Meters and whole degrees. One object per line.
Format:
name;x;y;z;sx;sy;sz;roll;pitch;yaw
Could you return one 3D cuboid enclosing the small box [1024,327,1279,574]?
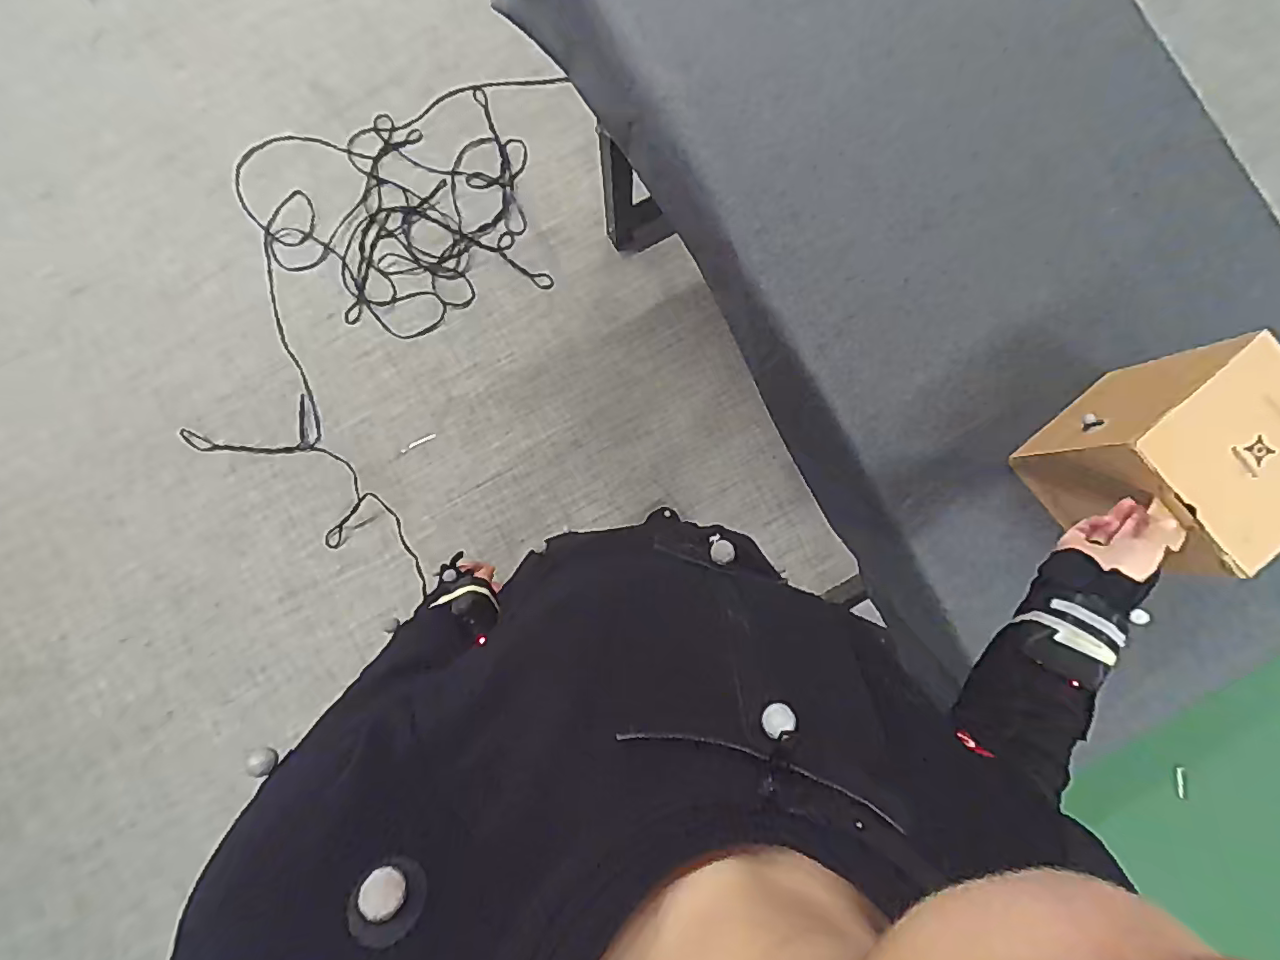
small box;0.562;-0.023;0.577;0.179;0.176;0.168;-40;90;-4
